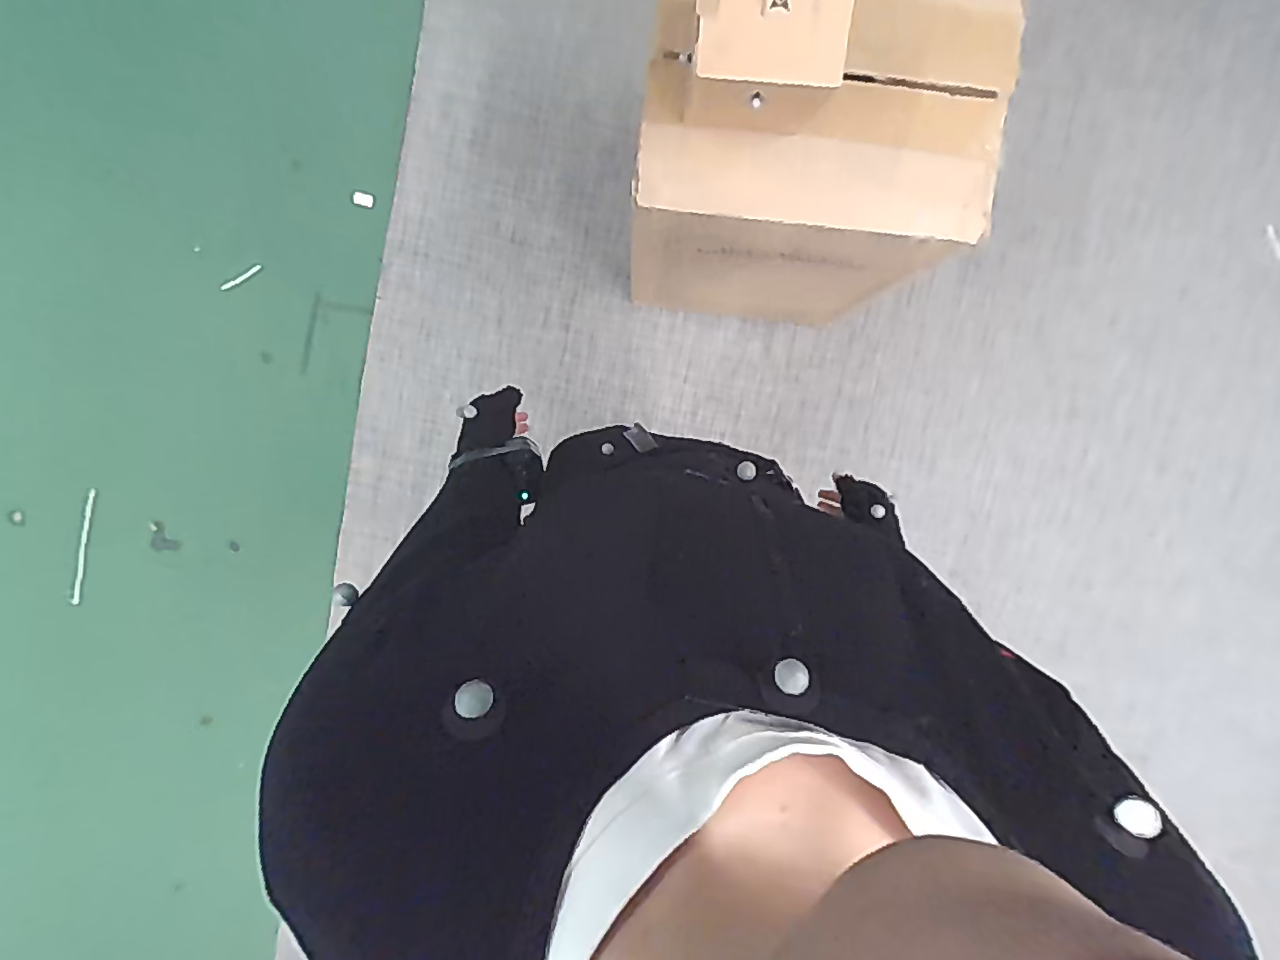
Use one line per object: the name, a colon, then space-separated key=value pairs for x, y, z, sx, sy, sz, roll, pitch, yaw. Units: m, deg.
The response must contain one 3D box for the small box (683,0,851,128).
small box: x=0.152 y=-0.570 z=0.686 sx=0.179 sy=0.176 sz=0.168 roll=3 pitch=107 yaw=-2
